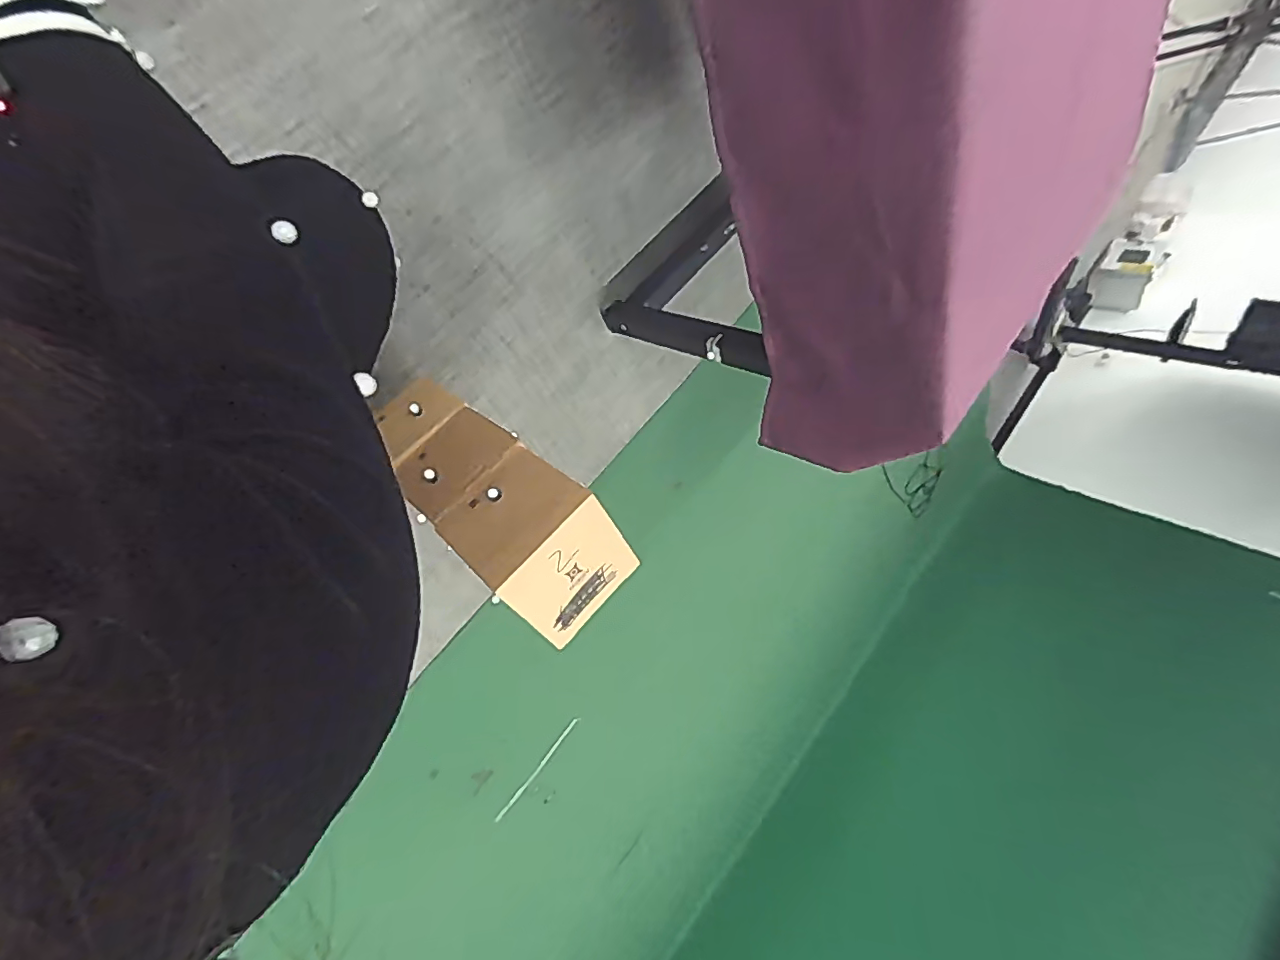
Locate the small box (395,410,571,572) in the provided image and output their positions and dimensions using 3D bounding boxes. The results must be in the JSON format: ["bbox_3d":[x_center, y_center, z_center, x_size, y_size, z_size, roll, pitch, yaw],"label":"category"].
[{"bbox_3d":[-0.249,0.009,0.859,0.168,0.176,0.179,-47,140,-15],"label":"small box"}]

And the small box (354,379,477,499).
[{"bbox_3d":[-0.363,-0.059,0.955,0.168,0.176,0.179,-46,139,-18],"label":"small box"}]
